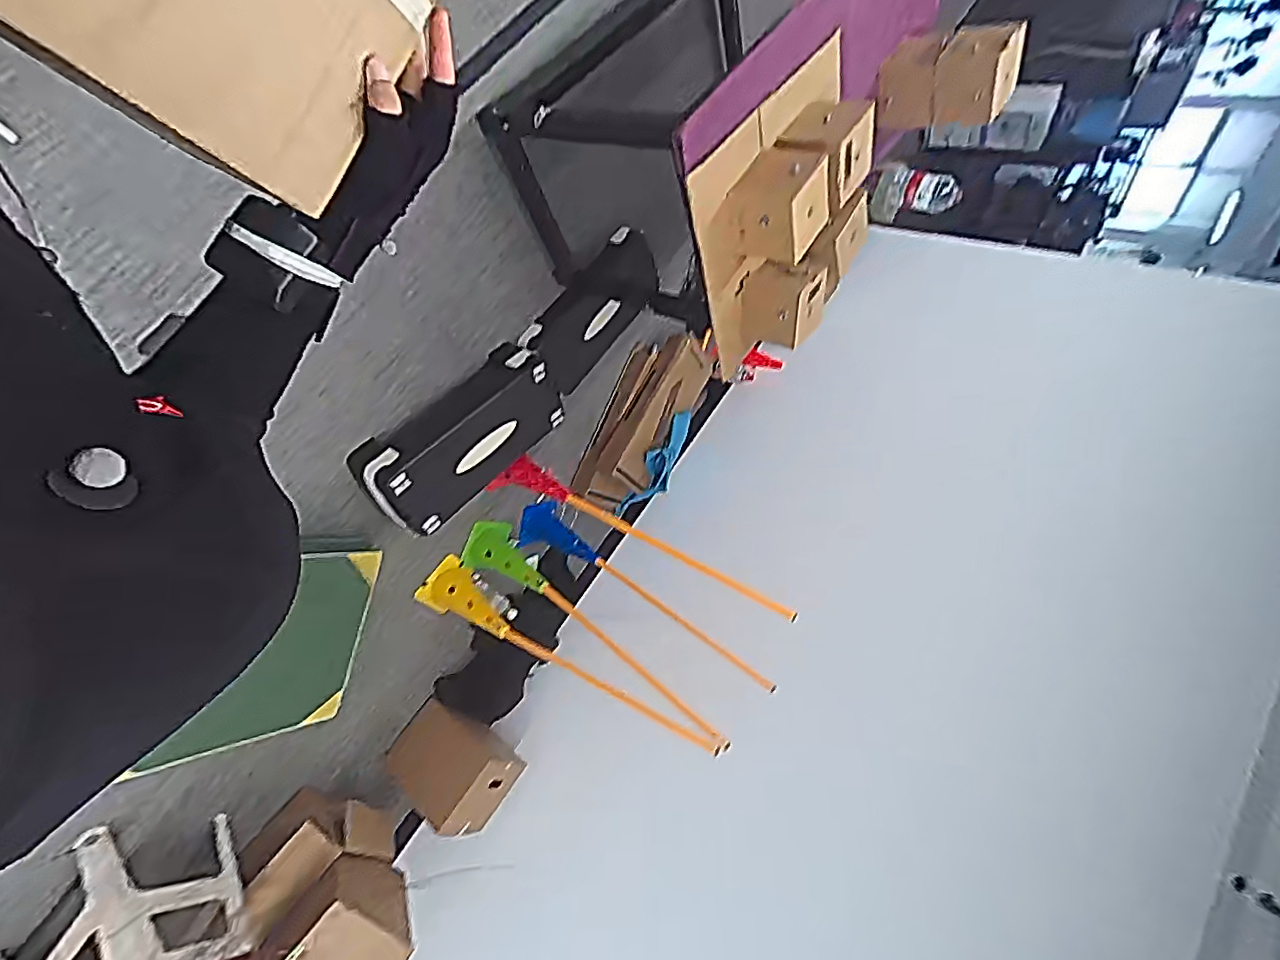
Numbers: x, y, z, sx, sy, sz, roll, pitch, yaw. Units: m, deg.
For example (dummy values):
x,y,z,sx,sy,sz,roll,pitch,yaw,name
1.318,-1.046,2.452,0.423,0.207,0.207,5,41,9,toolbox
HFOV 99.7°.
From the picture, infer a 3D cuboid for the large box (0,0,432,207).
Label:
x,y,z,sx,sy,sz,roll,pitch,yaw,name
-0.364,-0.439,0.304,0.320,0.320,0.408,-59,146,4,large box
